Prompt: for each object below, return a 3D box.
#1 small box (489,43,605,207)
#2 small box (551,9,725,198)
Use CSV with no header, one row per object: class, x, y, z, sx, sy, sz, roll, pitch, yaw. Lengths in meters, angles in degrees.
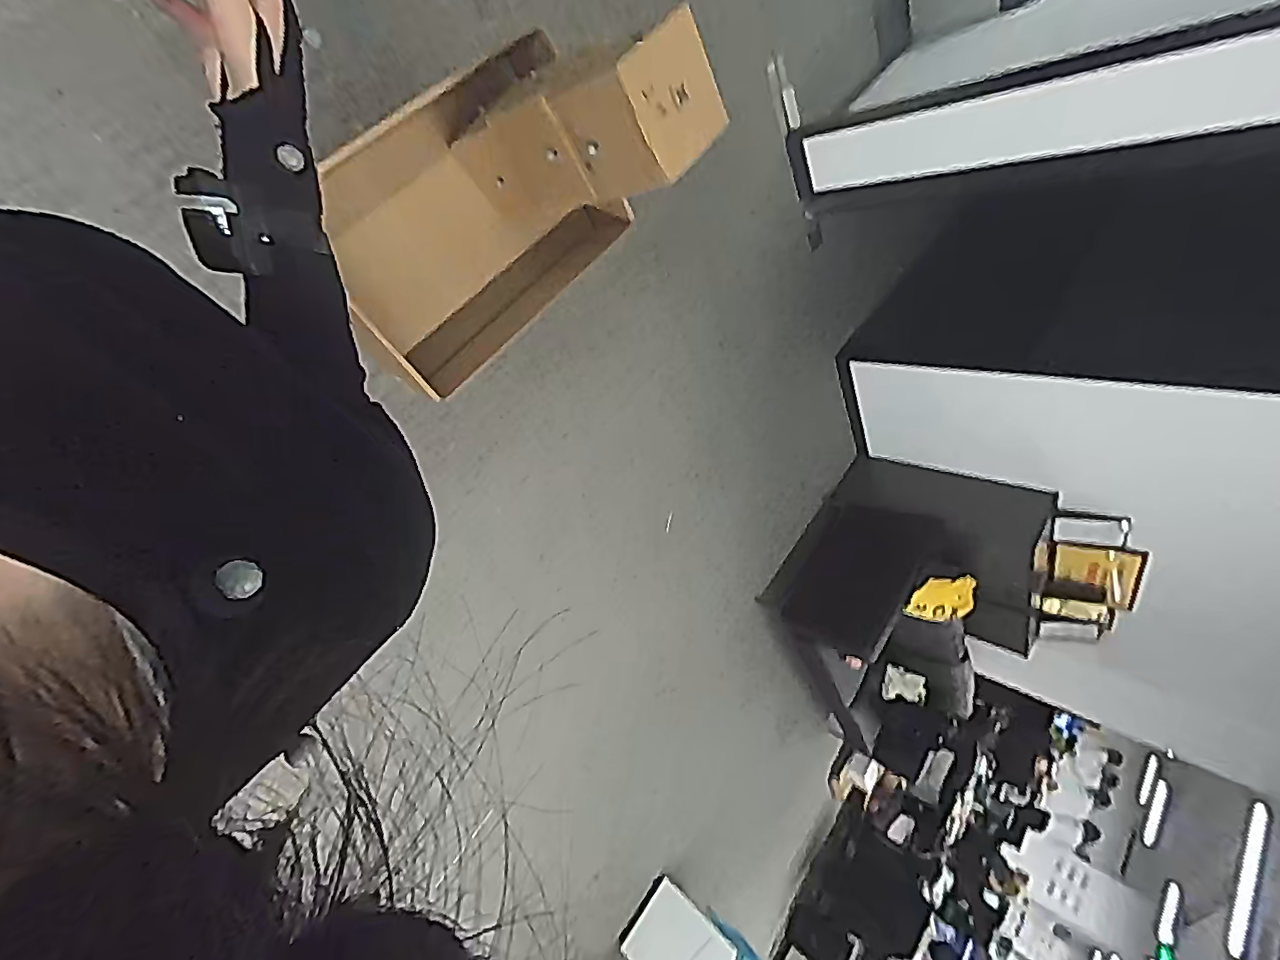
small box,-0.125,-0.604,0.947,0.168,0.176,0.179,-54,133,-17
small box,-0.004,-0.570,0.839,0.179,0.176,0.168,-52,132,-18
